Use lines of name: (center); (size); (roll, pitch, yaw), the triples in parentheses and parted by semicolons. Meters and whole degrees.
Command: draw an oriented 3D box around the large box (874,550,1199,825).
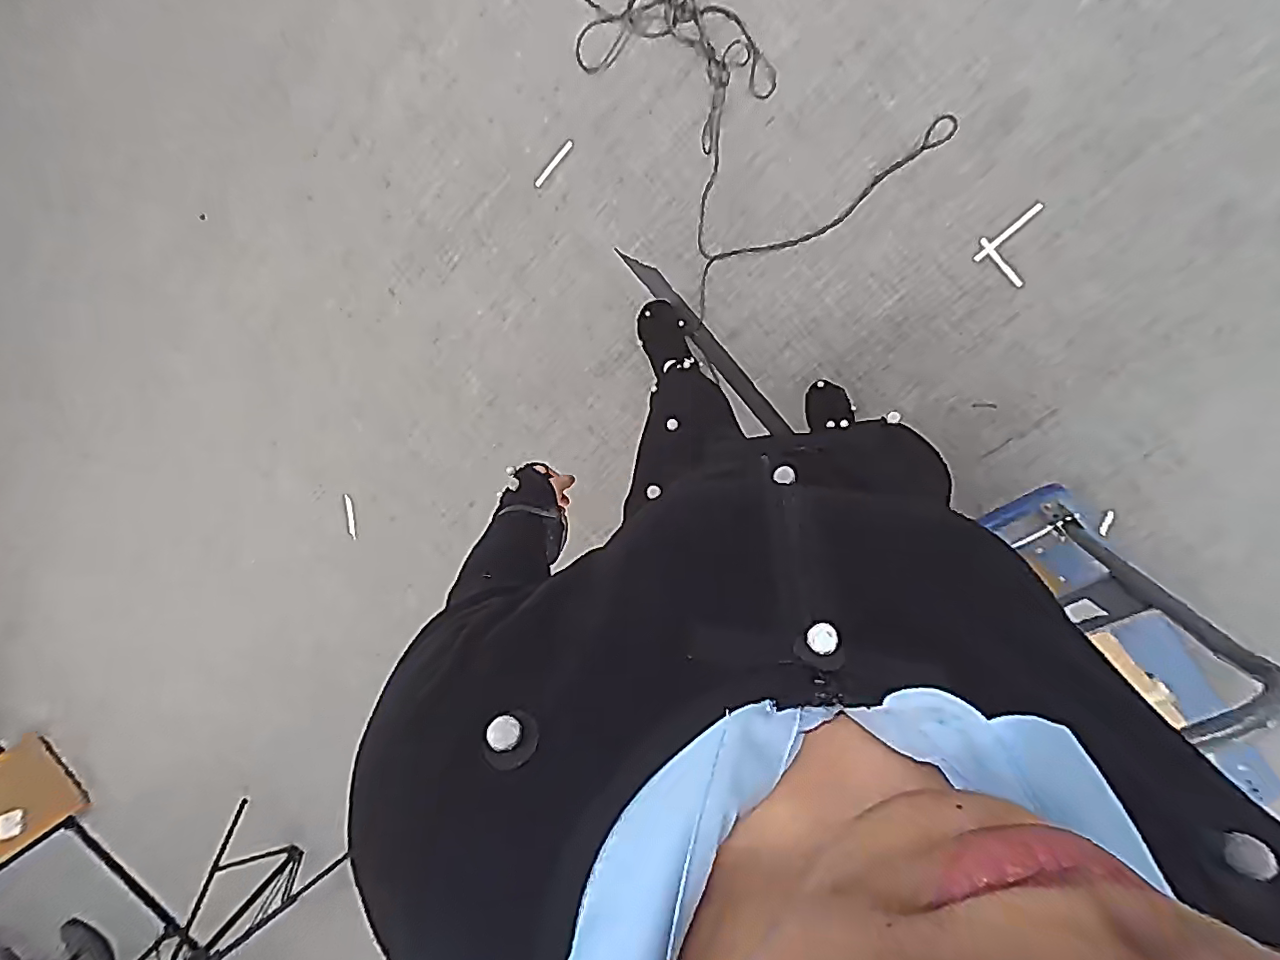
large box: (0.776, 0.421, 1.141); (0.408, 0.320, 0.320); (-41, 91, 23)
